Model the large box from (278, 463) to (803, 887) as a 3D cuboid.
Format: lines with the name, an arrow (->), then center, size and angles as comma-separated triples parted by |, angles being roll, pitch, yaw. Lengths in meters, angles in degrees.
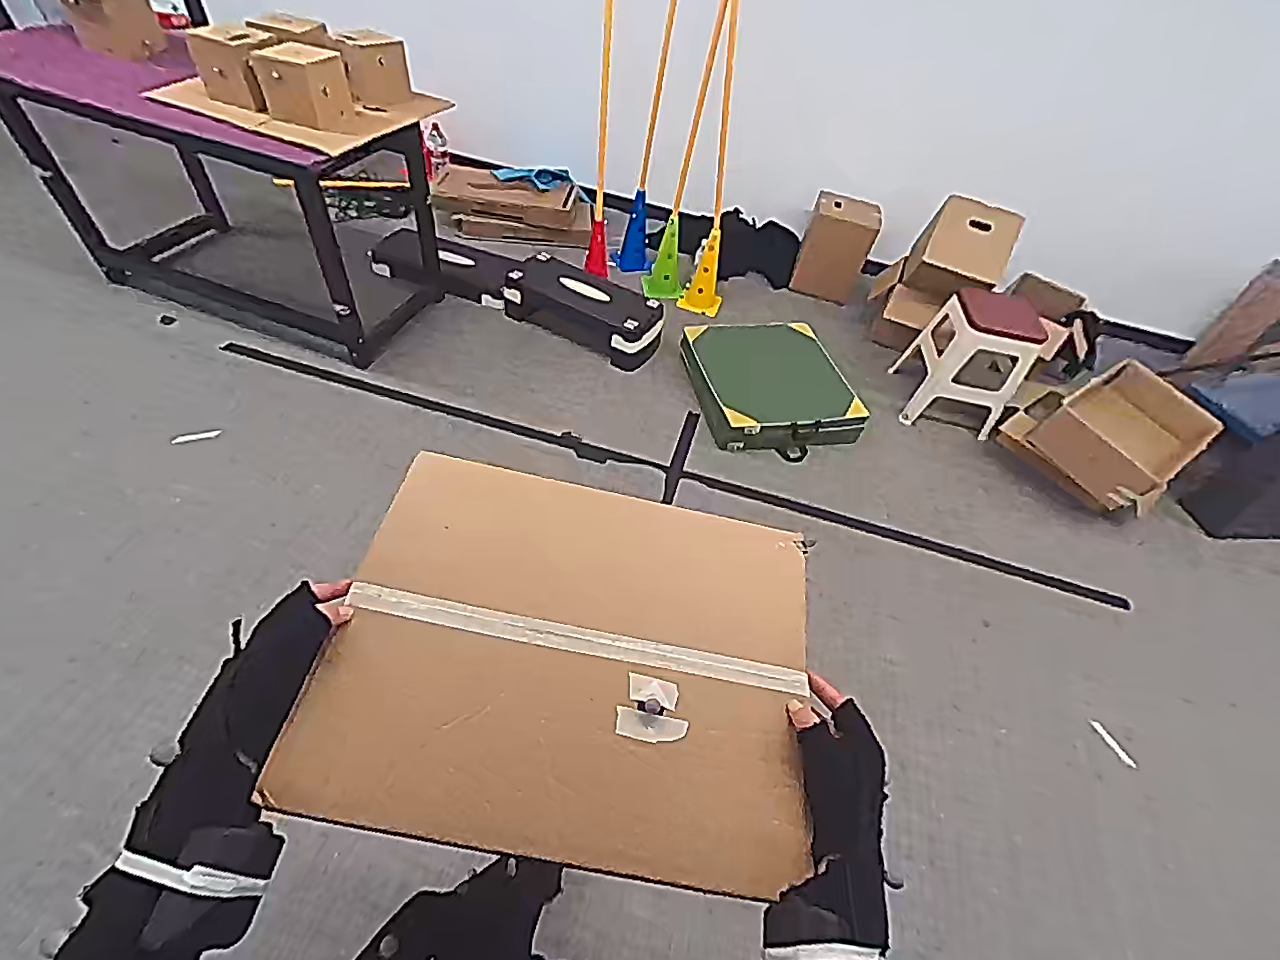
large box -> -0.076, 0.227, 0.604 | 0.408, 0.320, 0.320 | 13, 56, -3
